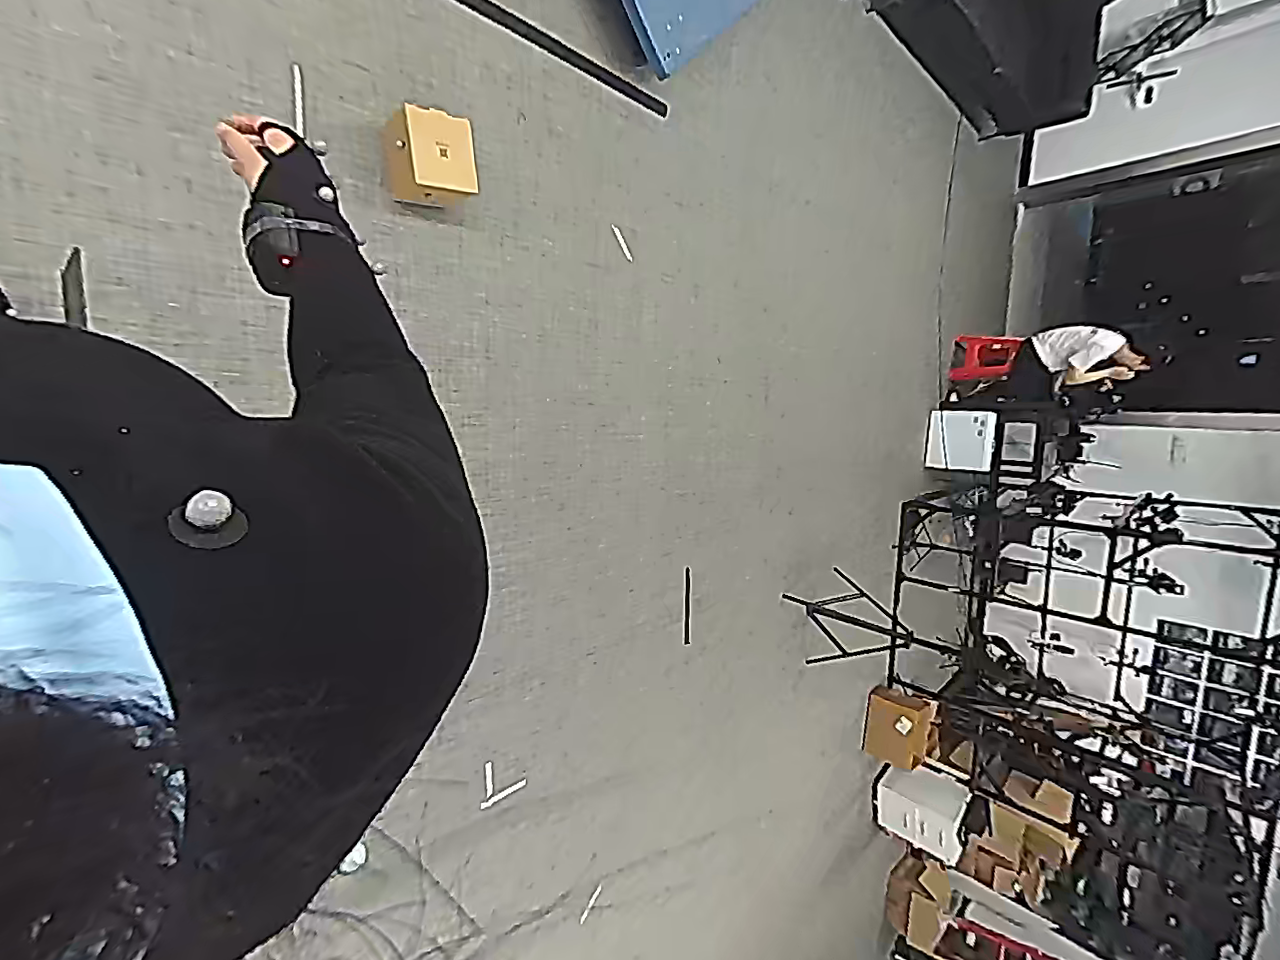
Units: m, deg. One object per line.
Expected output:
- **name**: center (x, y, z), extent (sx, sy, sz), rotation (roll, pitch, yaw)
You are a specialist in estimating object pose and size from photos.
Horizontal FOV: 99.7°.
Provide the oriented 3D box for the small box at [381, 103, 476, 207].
- **small box**: center (-0.540, -0.817, 1.382), extent (0.168, 0.176, 0.179), rotation (-15, 106, -42)
